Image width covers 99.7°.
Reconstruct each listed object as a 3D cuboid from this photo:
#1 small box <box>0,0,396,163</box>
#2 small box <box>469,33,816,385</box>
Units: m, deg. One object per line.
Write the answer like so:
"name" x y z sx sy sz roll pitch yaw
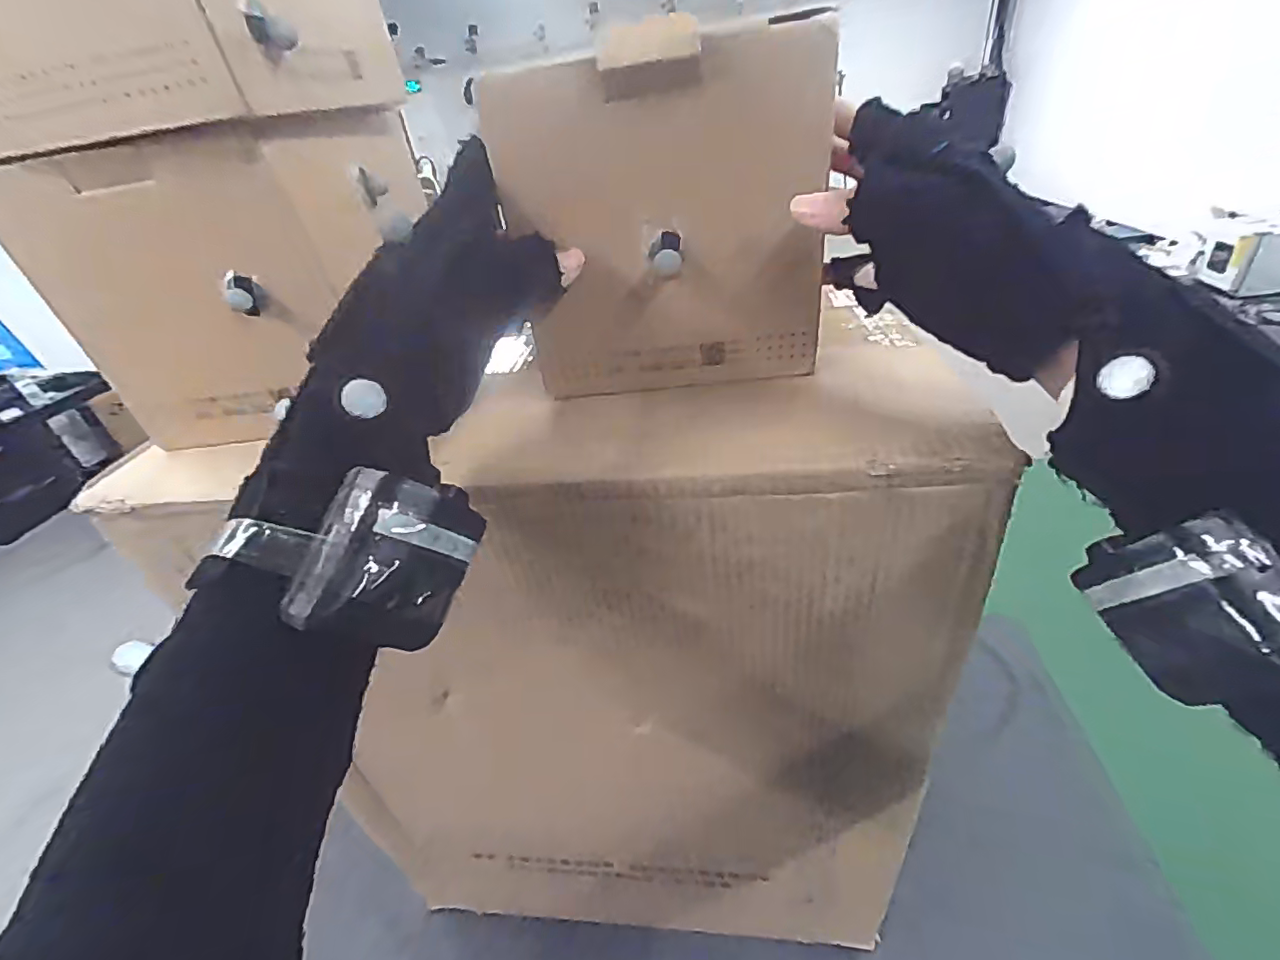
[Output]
"small box" -0.262 -0.263 0.277 0.179 0.176 0.168 -4 37 9
"small box" 0.013 -0.172 0.357 0.168 0.176 0.179 -4 38 6
